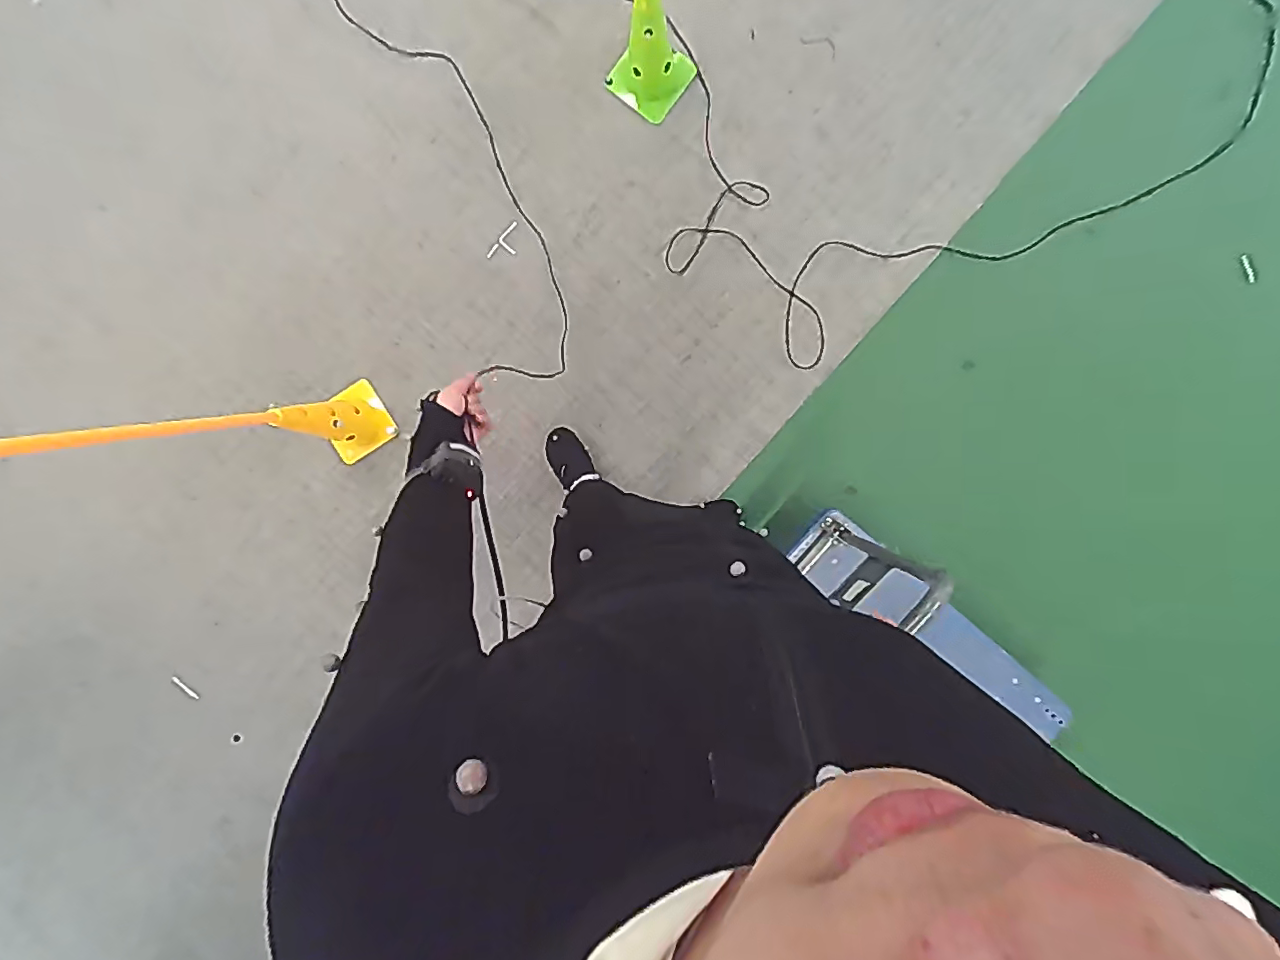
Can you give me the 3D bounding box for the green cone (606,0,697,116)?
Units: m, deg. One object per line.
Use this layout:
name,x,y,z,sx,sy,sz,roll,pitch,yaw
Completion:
green cone,0.027,-1.145,1.346,0.200,0.368,0.202,37,93,-1
